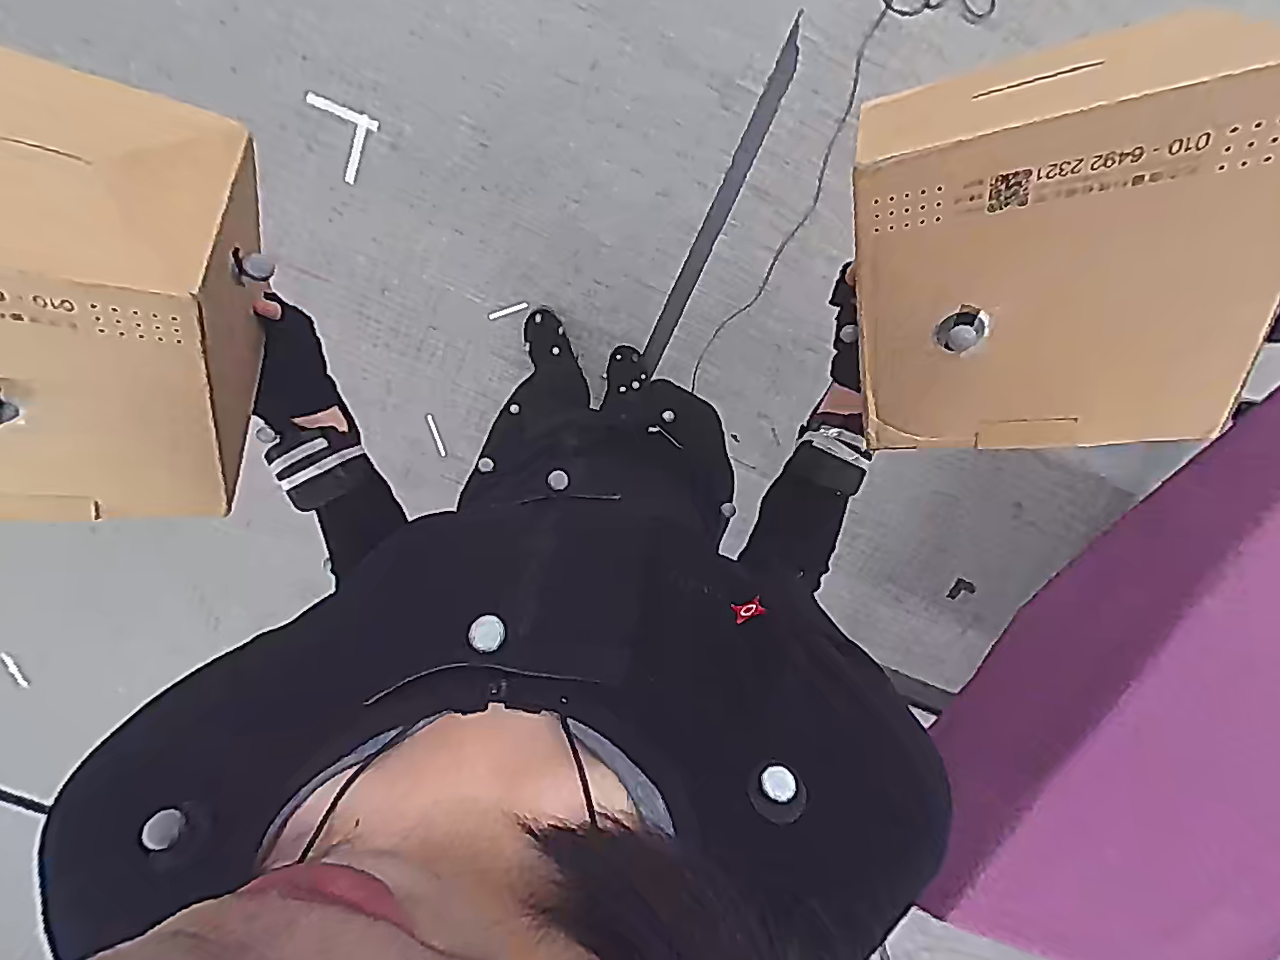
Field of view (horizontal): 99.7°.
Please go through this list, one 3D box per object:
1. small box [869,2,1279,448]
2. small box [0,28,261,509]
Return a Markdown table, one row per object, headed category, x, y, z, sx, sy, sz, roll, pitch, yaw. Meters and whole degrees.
| category | x | y | z | sx | sy | sz | roll | pitch | yaw |
| --- | --- | --- | --- | --- | --- | --- | --- | --- | --- |
| small box | 0.220 | -0.137 | 0.304 | 0.168 | 0.179 | 0.176 | 0 | 130 | 23 |
| small box | -0.309 | -0.105 | 0.278 | 0.168 | 0.179 | 0.176 | 5 | 139 | -30 |
